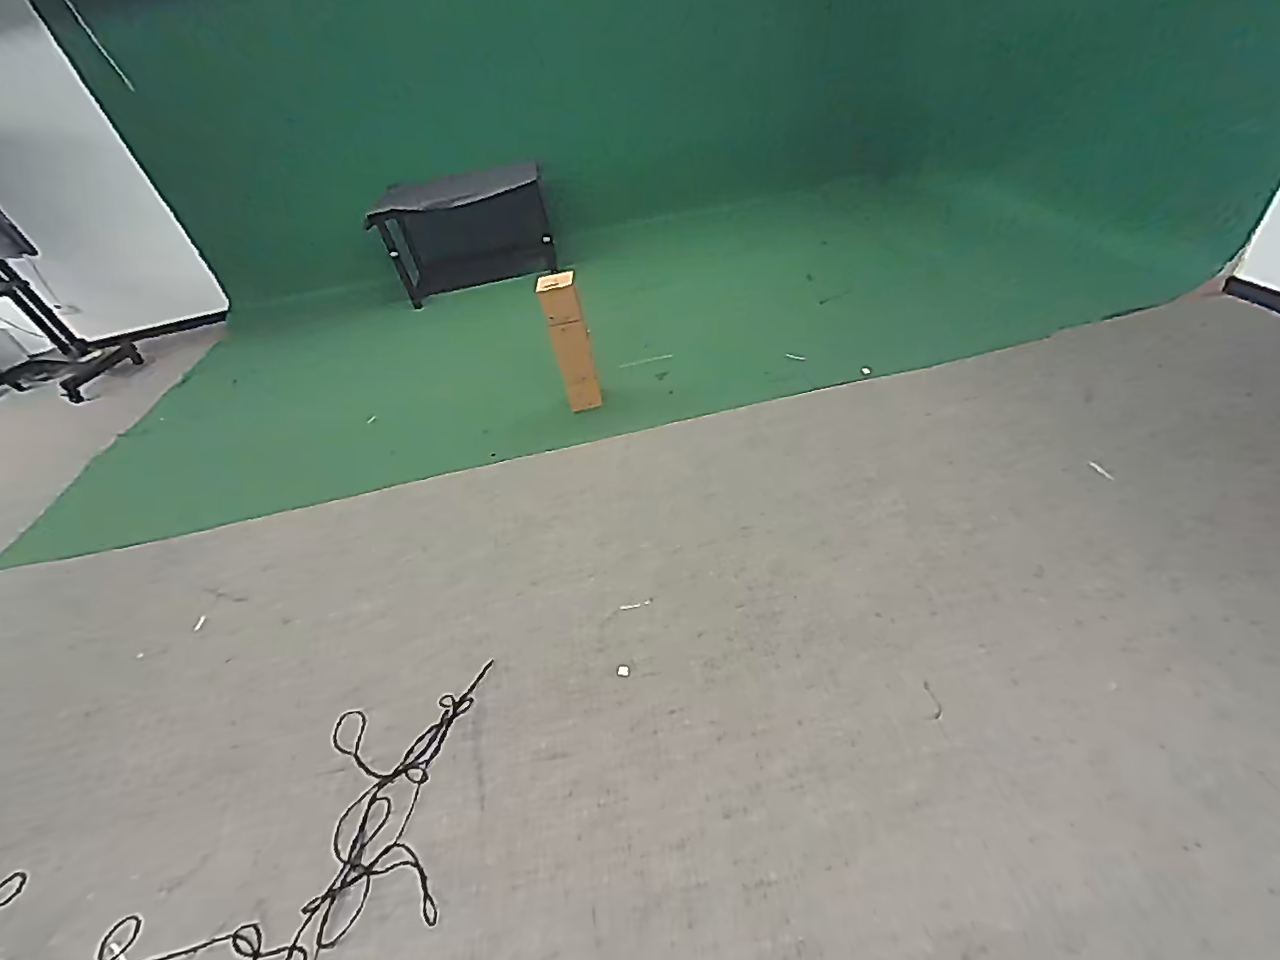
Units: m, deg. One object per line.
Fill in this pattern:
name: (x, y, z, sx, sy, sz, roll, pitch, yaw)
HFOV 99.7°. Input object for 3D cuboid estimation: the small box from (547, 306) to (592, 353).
small box: (-0.338, -0.732, 2.610, 0.179, 0.176, 0.168, -10, 41, 3)

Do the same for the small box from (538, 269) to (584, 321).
small box: (-0.360, -0.847, 2.495, 0.168, 0.176, 0.179, -10, 40, 4)

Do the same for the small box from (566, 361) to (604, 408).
small box: (-0.287, -0.493, 2.829, 0.168, 0.176, 0.179, -13, 40, 1)
